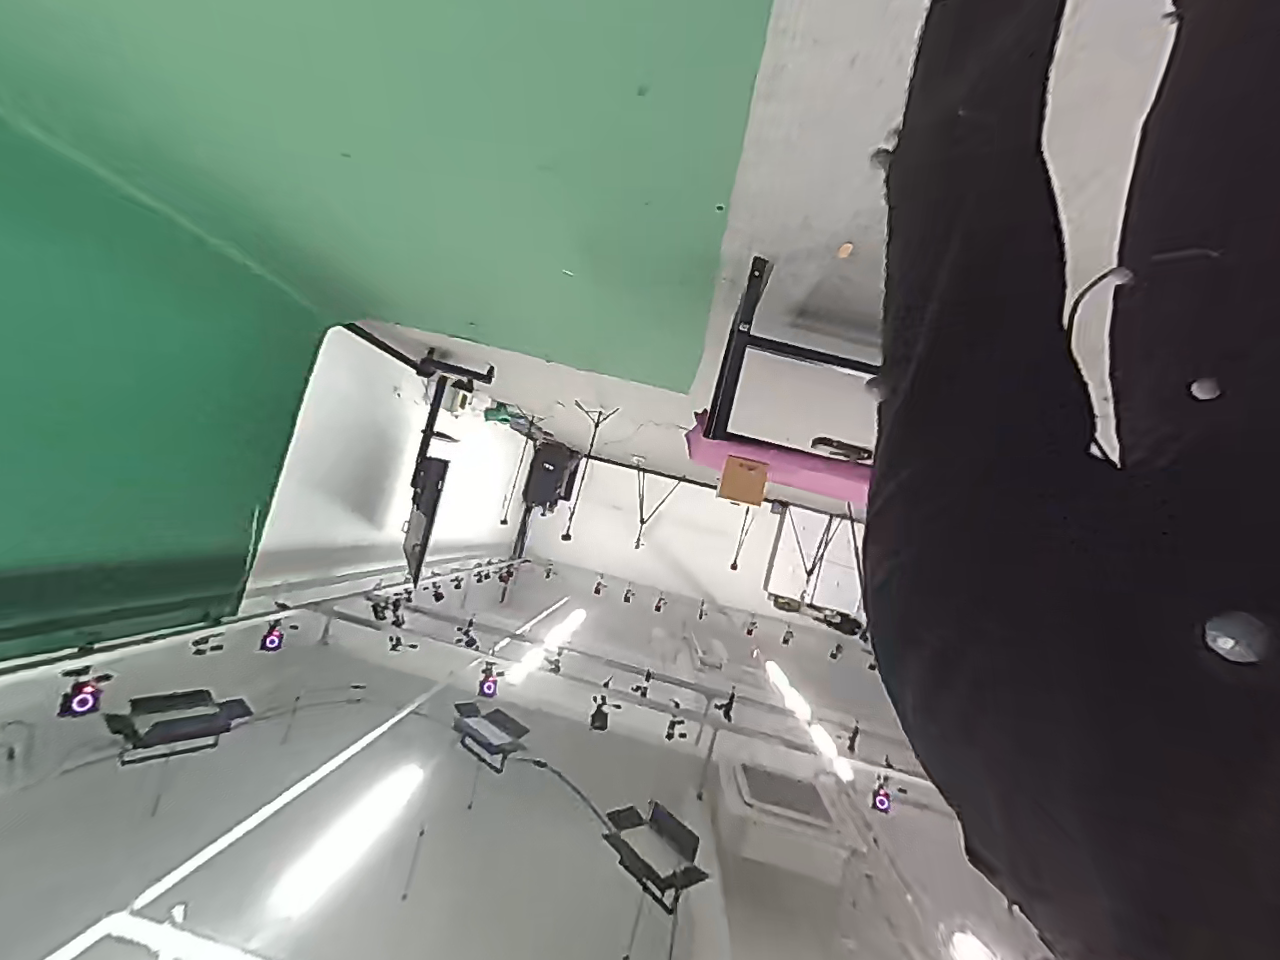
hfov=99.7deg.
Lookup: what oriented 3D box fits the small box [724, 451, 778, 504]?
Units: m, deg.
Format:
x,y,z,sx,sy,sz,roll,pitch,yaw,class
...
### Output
x,y,z,sx,sy,sz,roll,pitch,yaw,class
0.429,-0.009,2.098,0.168,0.176,0.179,12,178,6,small box
